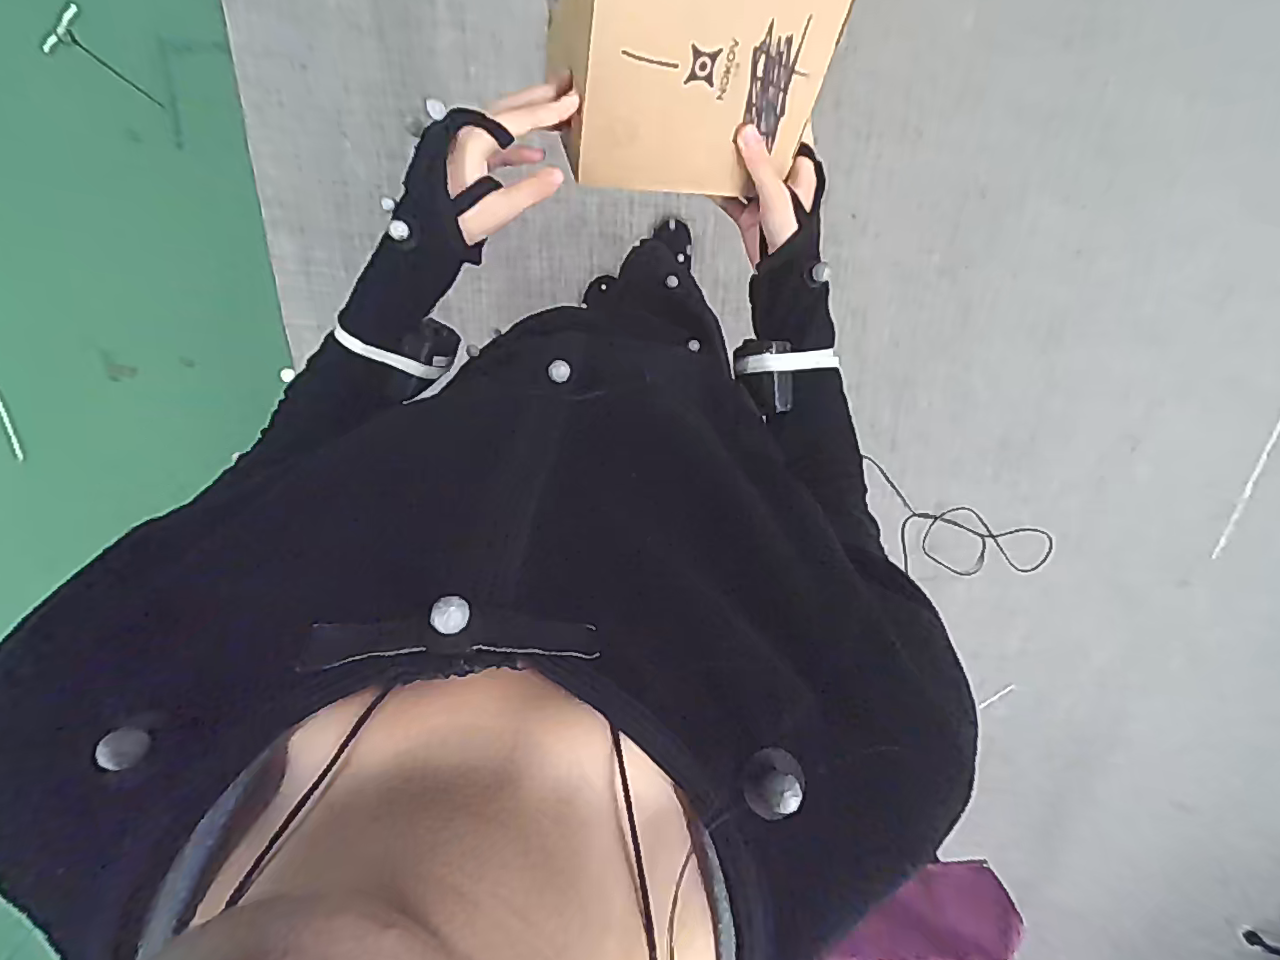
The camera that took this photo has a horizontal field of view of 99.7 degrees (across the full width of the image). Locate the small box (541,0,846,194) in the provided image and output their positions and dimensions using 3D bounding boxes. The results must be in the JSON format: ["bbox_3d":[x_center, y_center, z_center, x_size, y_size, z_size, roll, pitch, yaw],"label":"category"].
[{"bbox_3d":[0.026,-0.345,0.409,0.179,0.176,0.168,-4,144,-16],"label":"small box"}]
